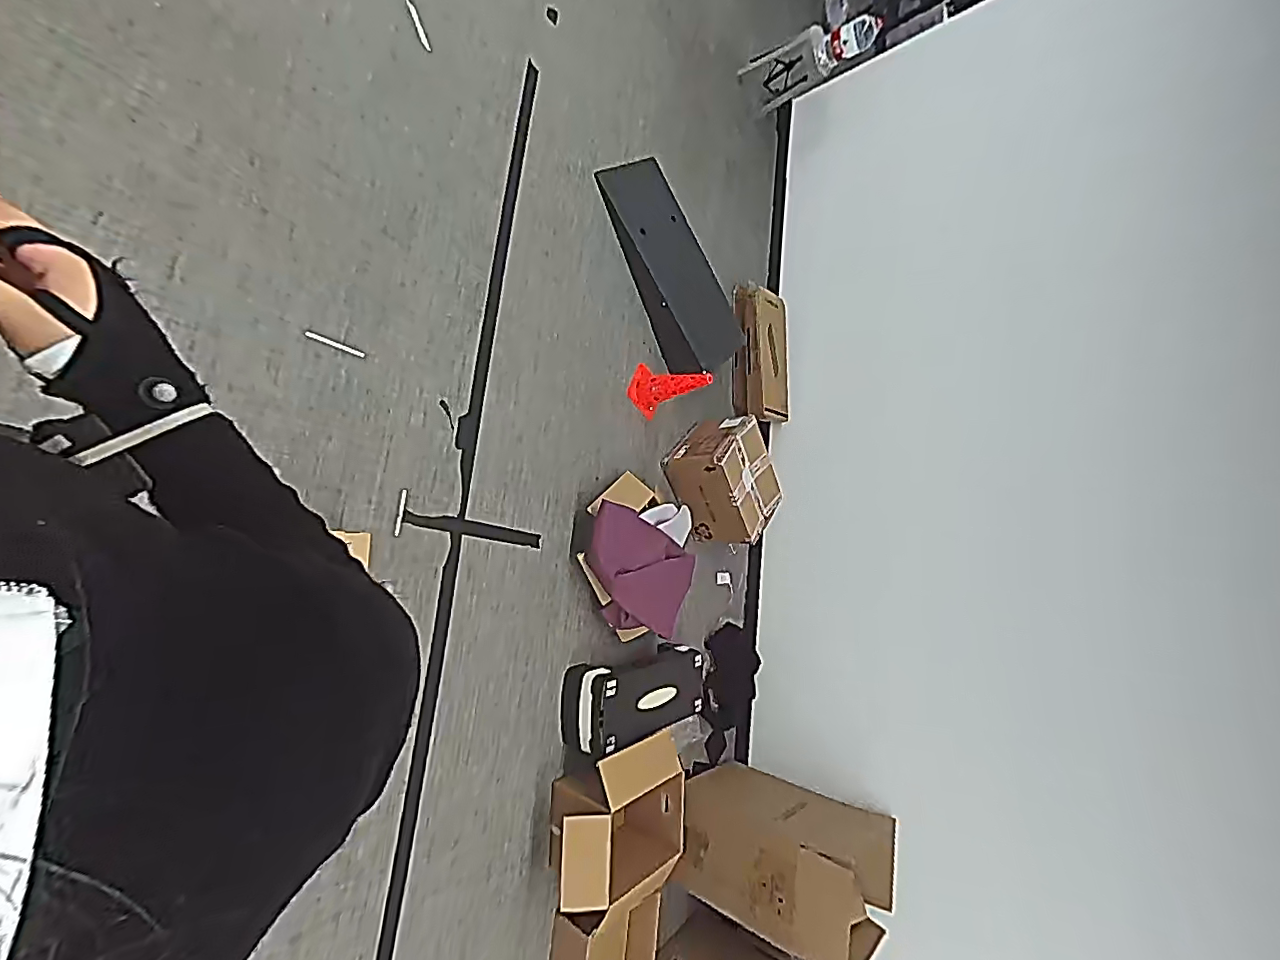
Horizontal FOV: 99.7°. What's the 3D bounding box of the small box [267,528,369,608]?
[{"bbox_3d":[-0.797,0.213,1.334,0.168,0.176,0.179,10,80,-50],"label":"small box"}]
